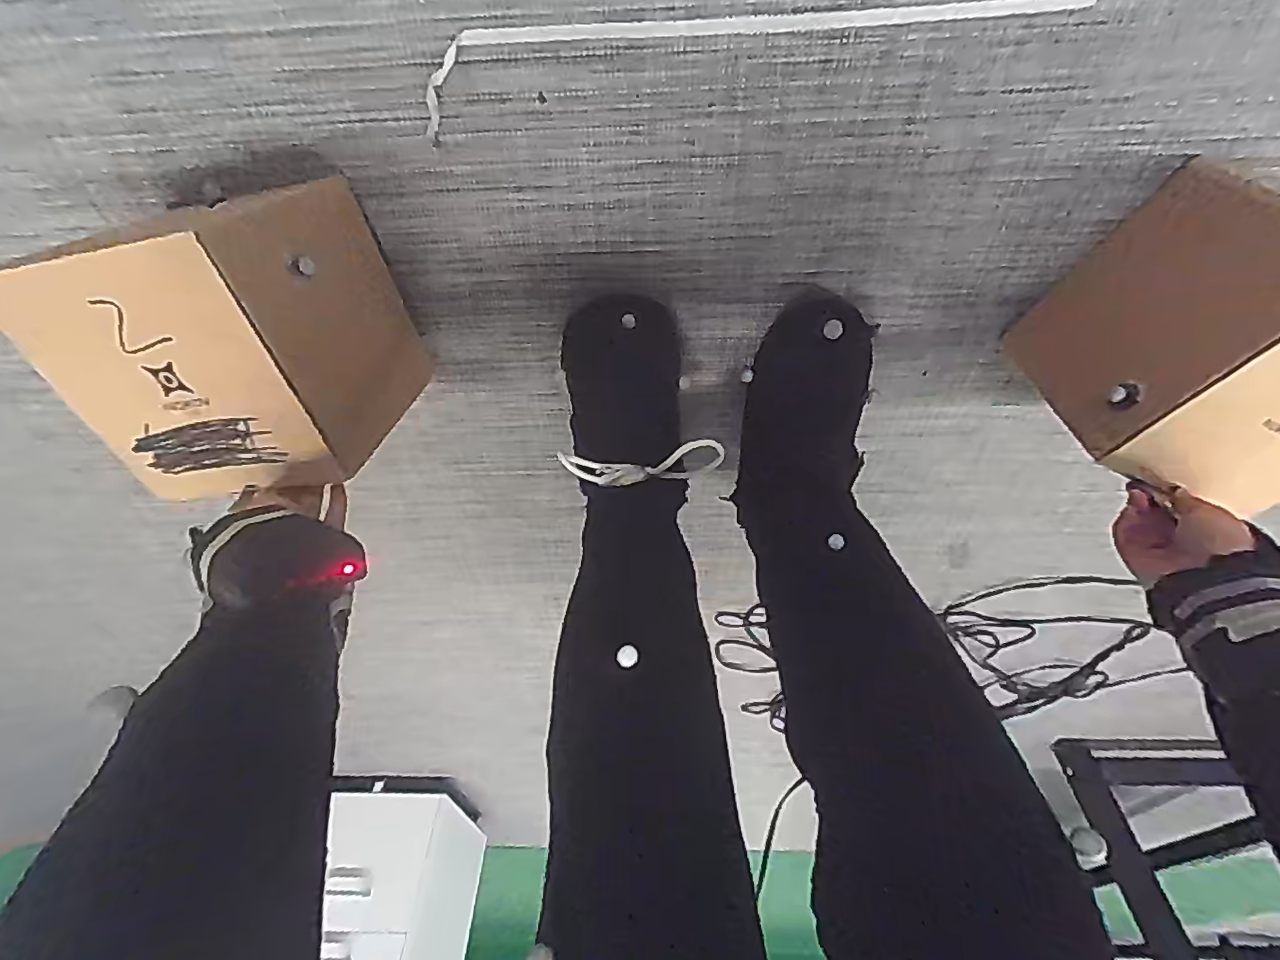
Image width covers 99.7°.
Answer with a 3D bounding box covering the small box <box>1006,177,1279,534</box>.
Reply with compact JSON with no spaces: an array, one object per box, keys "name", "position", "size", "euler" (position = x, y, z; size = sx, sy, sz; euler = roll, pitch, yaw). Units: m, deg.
[{"name":"small box","position":[0.435,-0.092,0.411],"size":[0.168,0.176,0.179],"euler":[18,134,-16]}]
